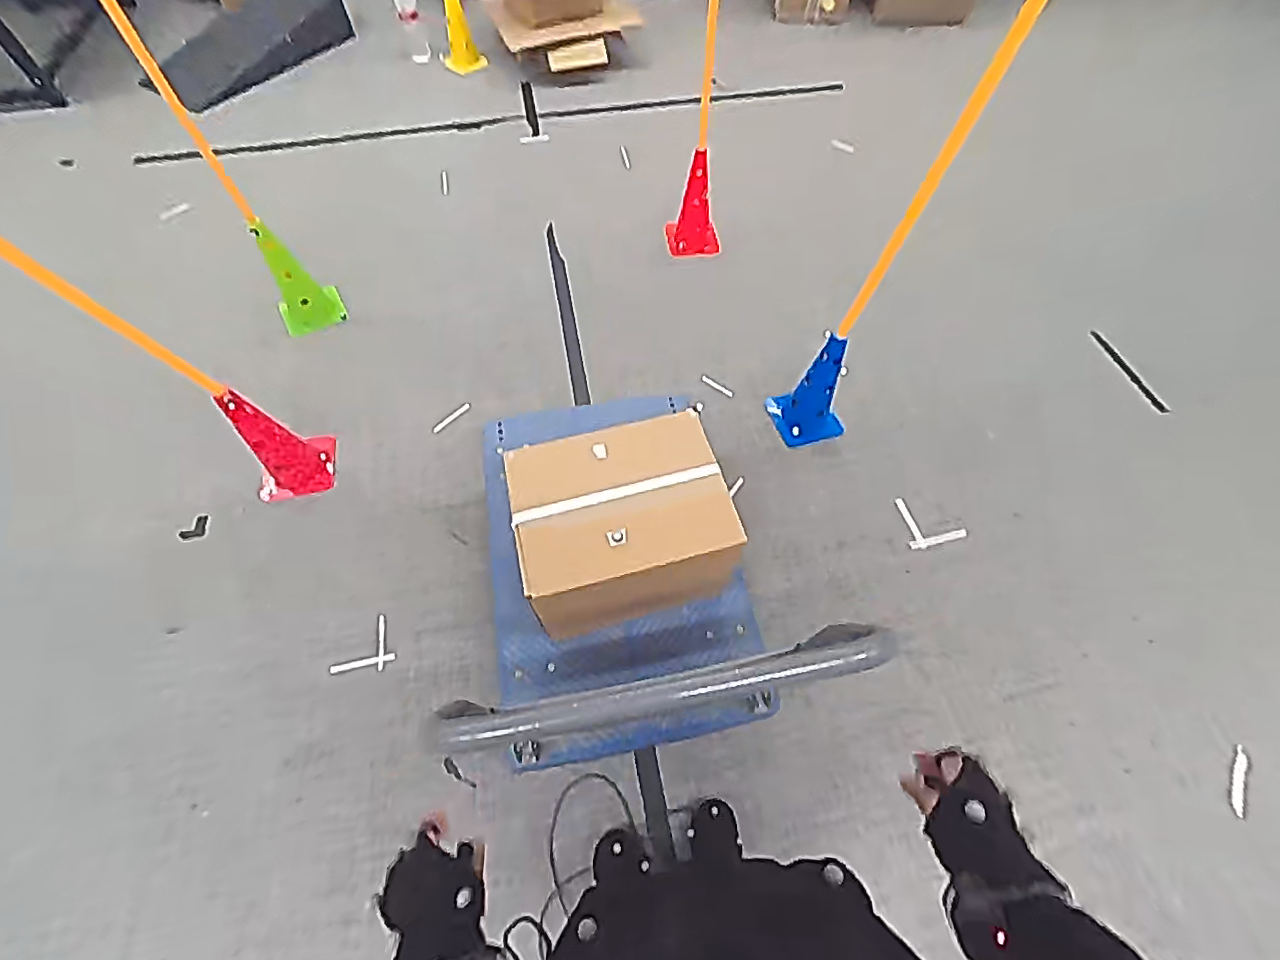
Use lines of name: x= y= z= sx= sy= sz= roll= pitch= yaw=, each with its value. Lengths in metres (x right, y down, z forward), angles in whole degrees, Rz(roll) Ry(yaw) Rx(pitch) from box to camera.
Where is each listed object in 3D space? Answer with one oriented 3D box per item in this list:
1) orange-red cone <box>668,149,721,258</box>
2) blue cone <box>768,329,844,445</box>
orange-red cone: x=0.219 y=-1.035 z=2.002 sx=0.199 sy=0.360 sz=0.198 roll=-4 pitch=61 yaw=-4
blue cone: x=0.526 y=-0.285 z=1.587 sx=0.193 sy=0.380 sz=0.192 roll=-13 pitch=60 yaw=-8
